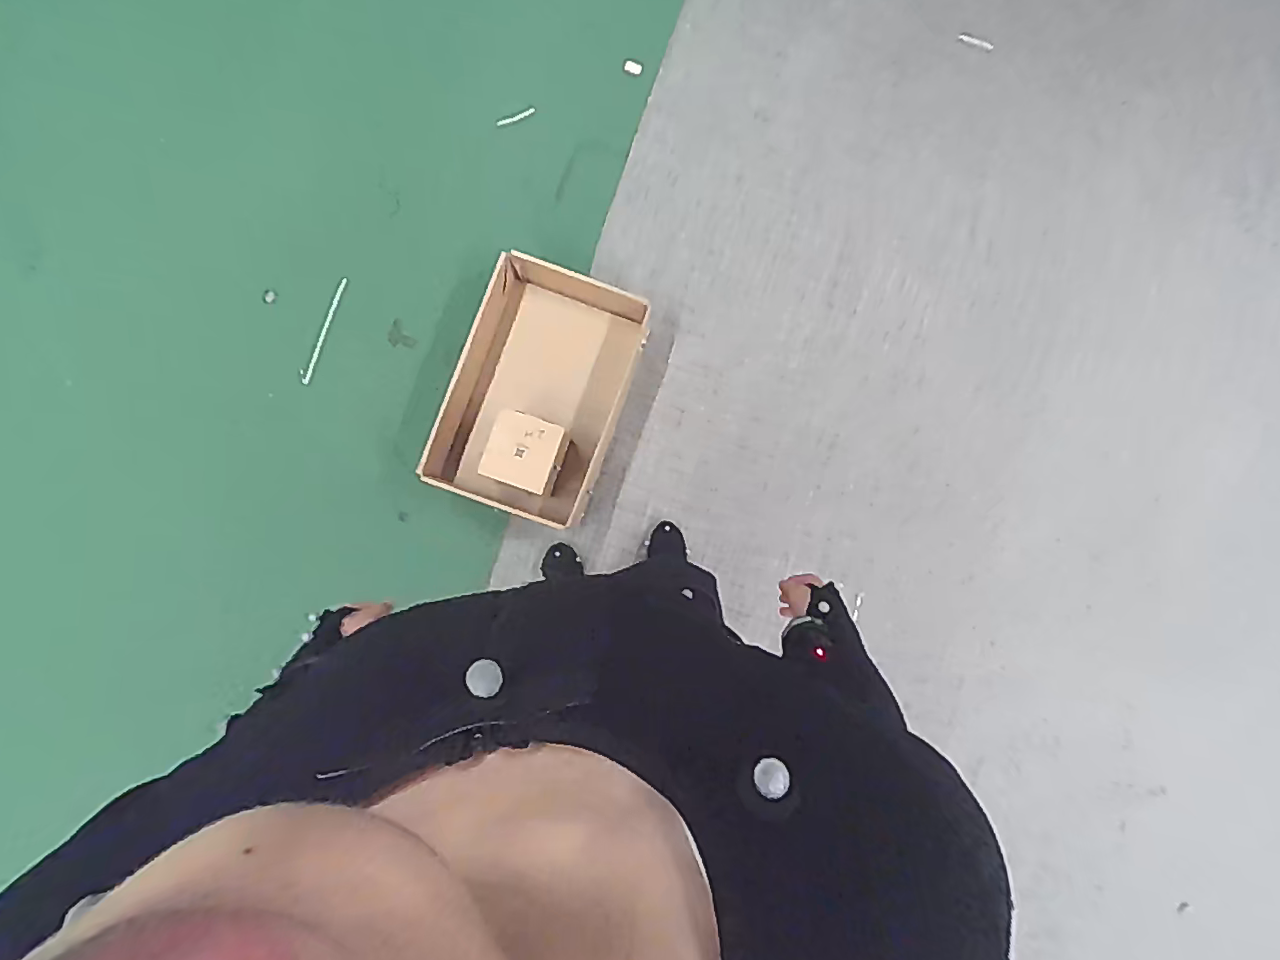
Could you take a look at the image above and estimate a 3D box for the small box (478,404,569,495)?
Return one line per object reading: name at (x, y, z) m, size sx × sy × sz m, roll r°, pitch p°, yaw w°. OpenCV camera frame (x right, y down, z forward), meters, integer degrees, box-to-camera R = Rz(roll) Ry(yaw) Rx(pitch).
small box at (-0.281, -0.068, 1.354) m, size 0.168 × 0.176 × 0.179 m, roll 19°, pitch 85°, yaw -2°
